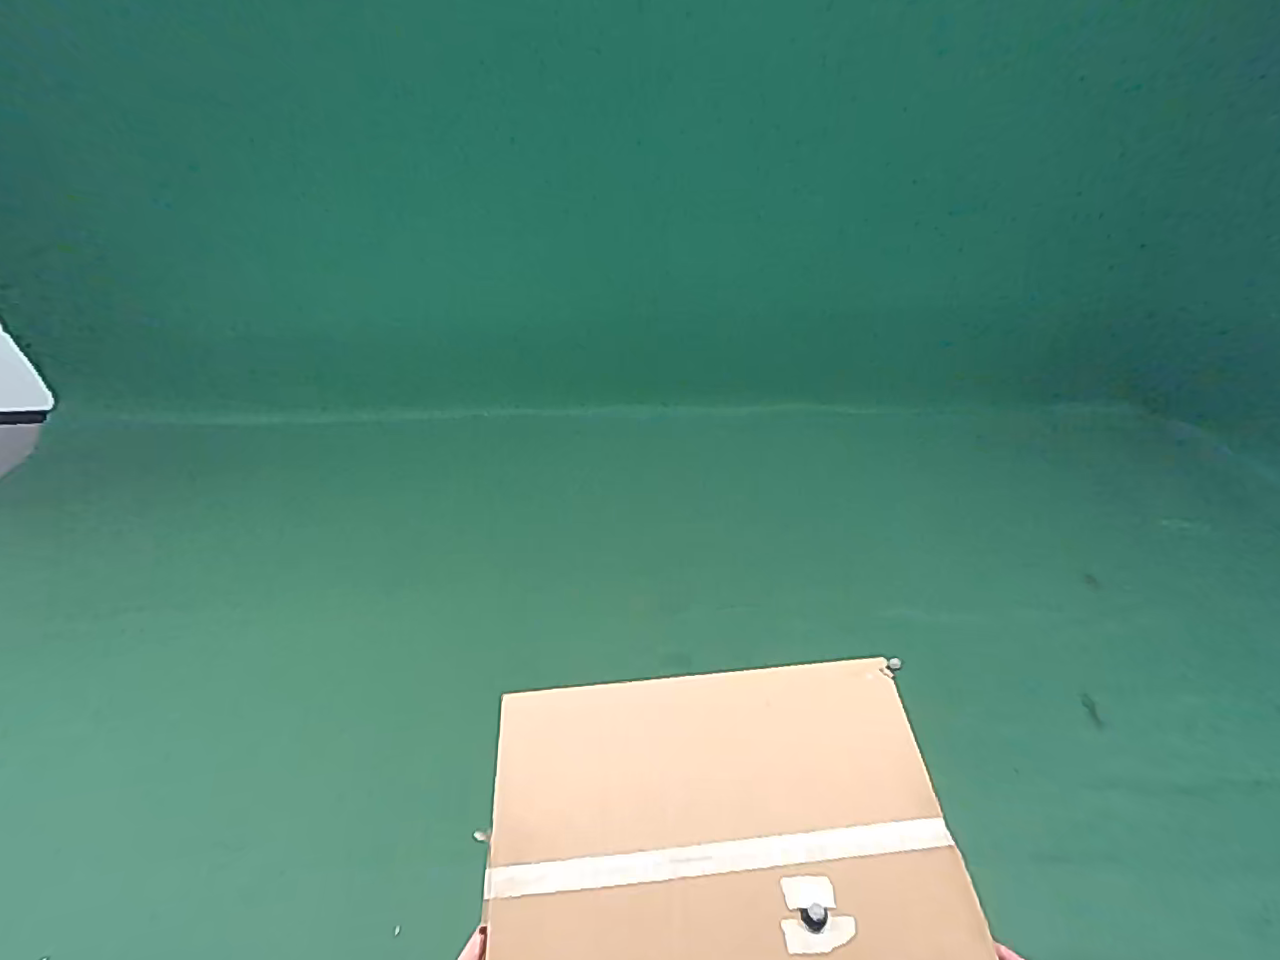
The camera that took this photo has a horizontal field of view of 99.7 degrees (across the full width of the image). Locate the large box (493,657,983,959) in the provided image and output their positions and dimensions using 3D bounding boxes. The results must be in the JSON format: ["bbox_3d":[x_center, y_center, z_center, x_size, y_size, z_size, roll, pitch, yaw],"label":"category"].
[{"bbox_3d":[0.071,0.421,0.601,0.408,0.320,0.320,-5,53,-3],"label":"large box"}]
